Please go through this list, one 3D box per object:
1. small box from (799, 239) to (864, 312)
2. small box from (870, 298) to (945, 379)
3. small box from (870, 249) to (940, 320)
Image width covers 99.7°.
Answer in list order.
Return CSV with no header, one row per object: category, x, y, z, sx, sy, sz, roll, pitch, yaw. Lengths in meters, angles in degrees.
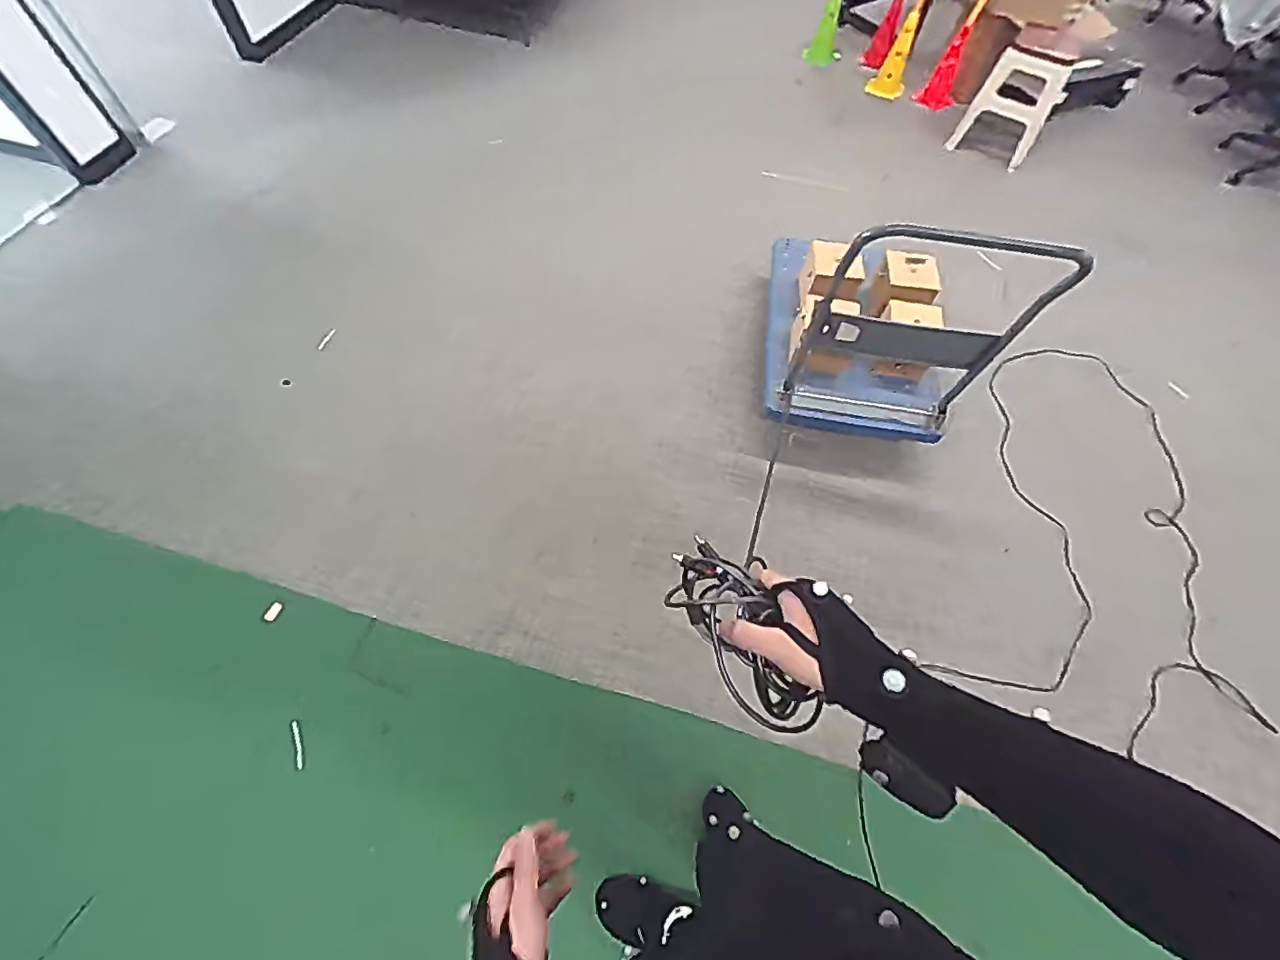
small box,0.670,-0.718,1.909,0.168,0.176,0.179,6,61,0
small box,0.874,-0.463,1.781,0.168,0.176,0.179,11,62,3
small box,0.922,-0.677,1.899,0.168,0.176,0.179,7,62,2
